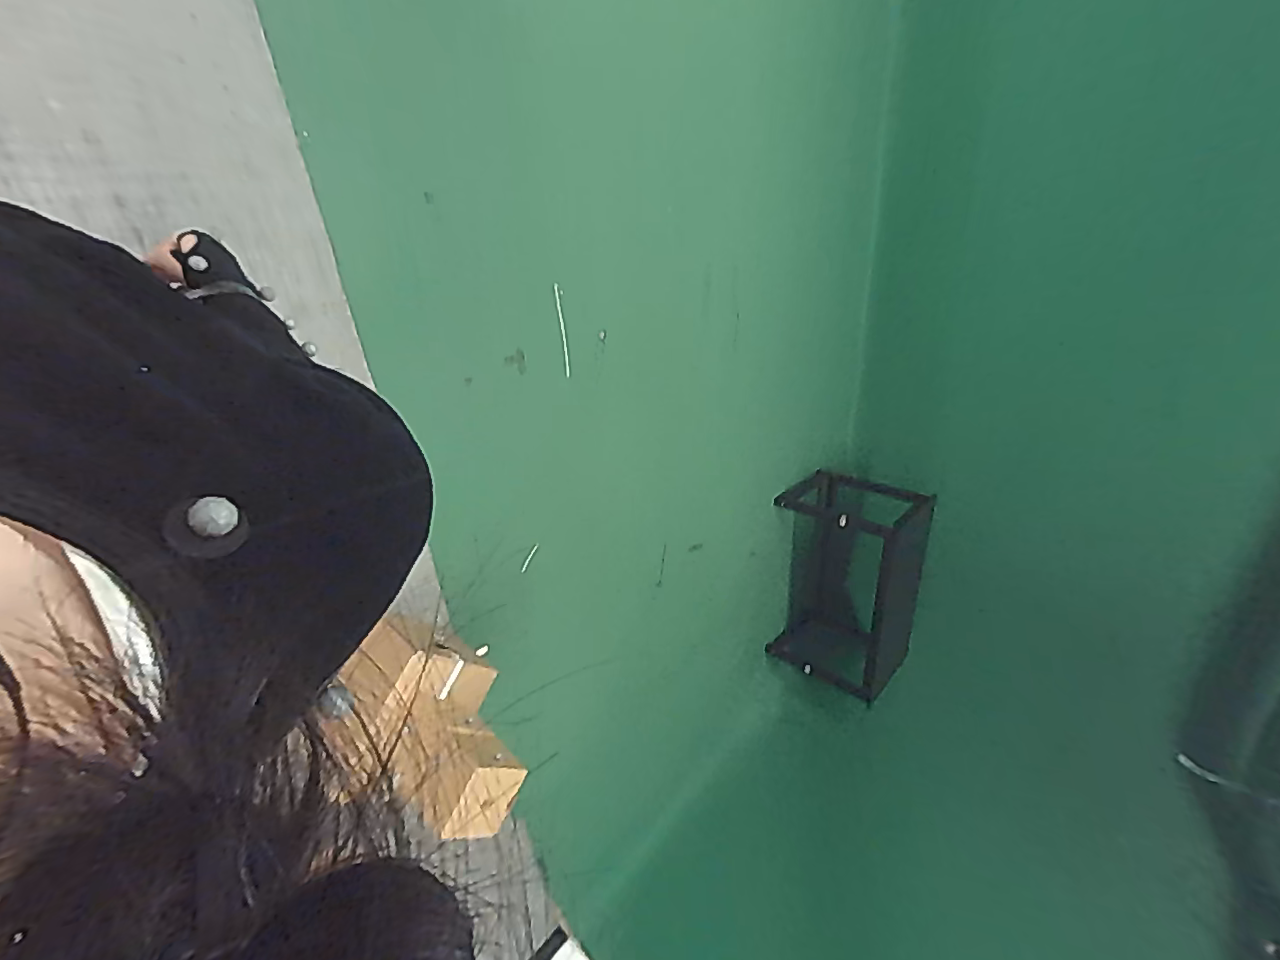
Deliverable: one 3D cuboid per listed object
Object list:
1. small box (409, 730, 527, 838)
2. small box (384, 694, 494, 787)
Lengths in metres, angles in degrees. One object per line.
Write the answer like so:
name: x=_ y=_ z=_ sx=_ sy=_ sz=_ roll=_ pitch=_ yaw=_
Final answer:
small box: x=-0.417 y=0.731 z=1.310 sx=0.179 sy=0.176 sz=0.168 roll=41 pitch=73 yaw=-47
small box: x=-0.528 y=0.689 z=1.422 sx=0.179 sy=0.176 sz=0.168 roll=44 pitch=71 yaw=-46
